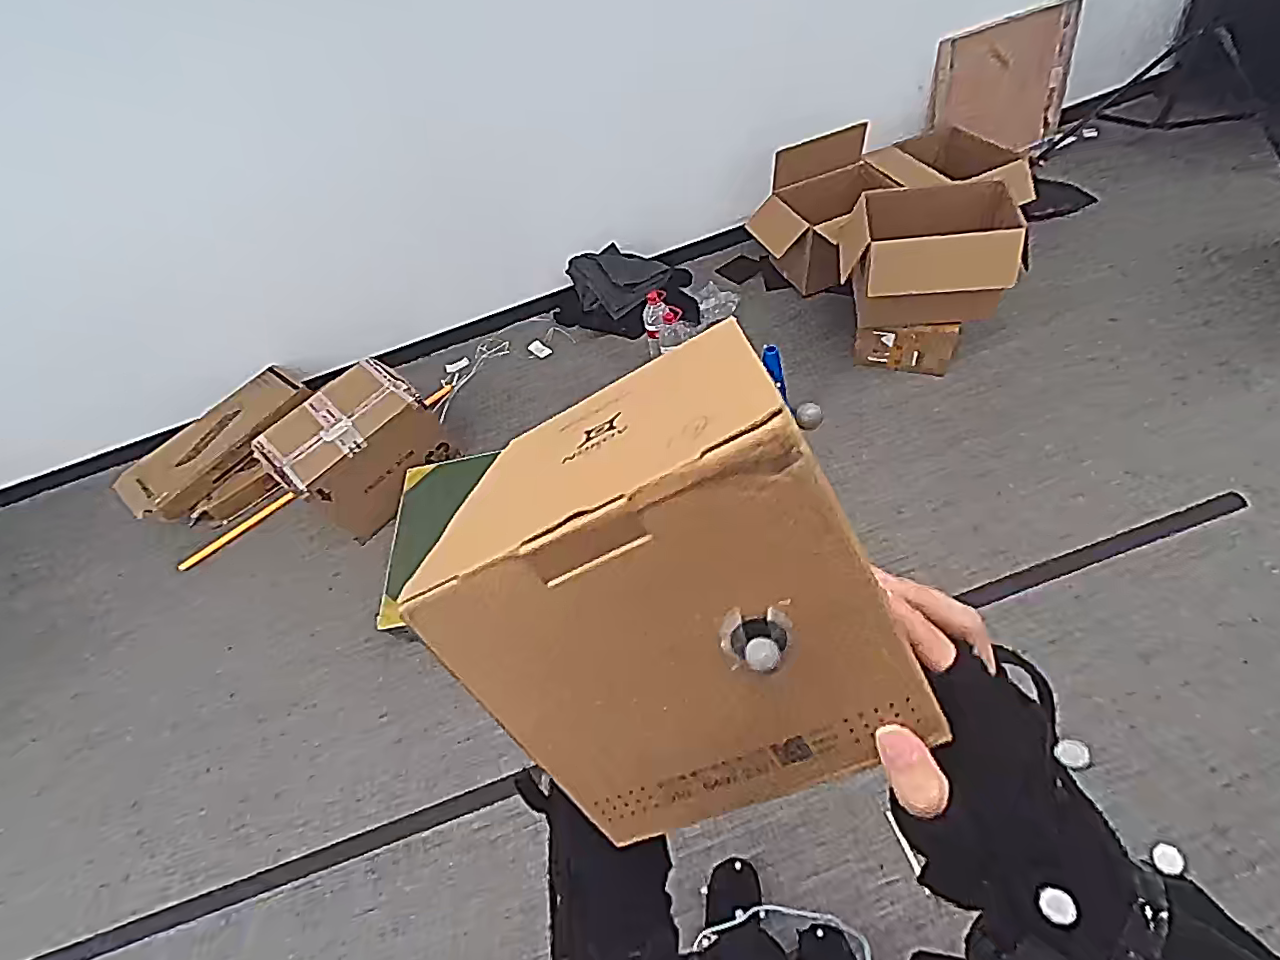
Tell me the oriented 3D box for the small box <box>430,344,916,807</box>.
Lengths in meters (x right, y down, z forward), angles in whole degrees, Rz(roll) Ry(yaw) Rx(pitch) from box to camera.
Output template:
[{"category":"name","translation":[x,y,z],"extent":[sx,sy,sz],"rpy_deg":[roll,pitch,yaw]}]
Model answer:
[{"category":"small box","translation":[0.025,0.051,0.309],"extent":[0.168,0.176,0.179],"rpy_deg":[-27,20,15]}]
